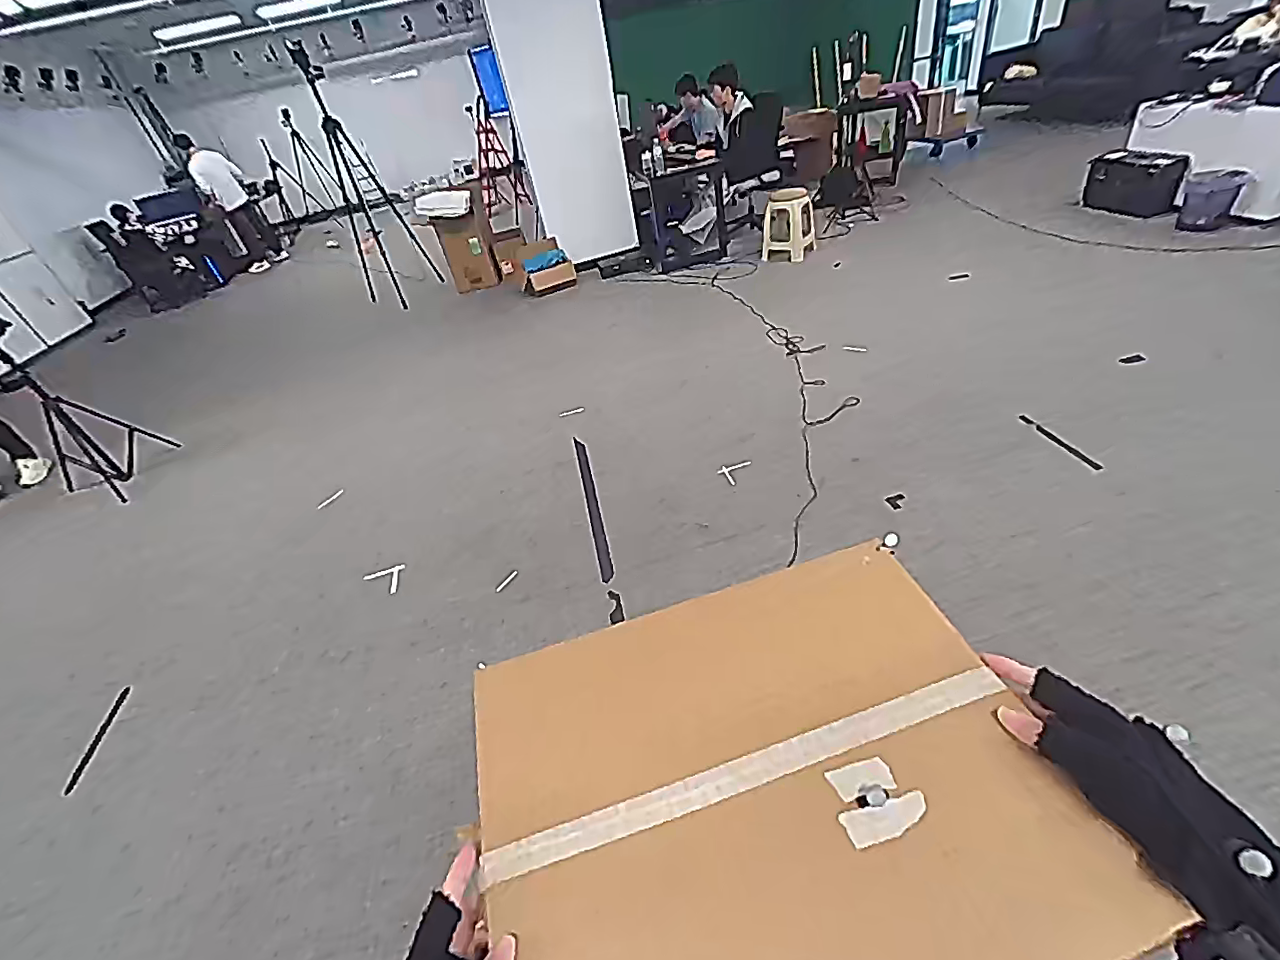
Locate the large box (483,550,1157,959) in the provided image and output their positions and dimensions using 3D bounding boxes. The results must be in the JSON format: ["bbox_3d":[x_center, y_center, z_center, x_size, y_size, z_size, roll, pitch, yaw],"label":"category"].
[{"bbox_3d":[0.105,0.330,0.509,0.408,0.320,0.320,-17,43,-7],"label":"large box"}]
